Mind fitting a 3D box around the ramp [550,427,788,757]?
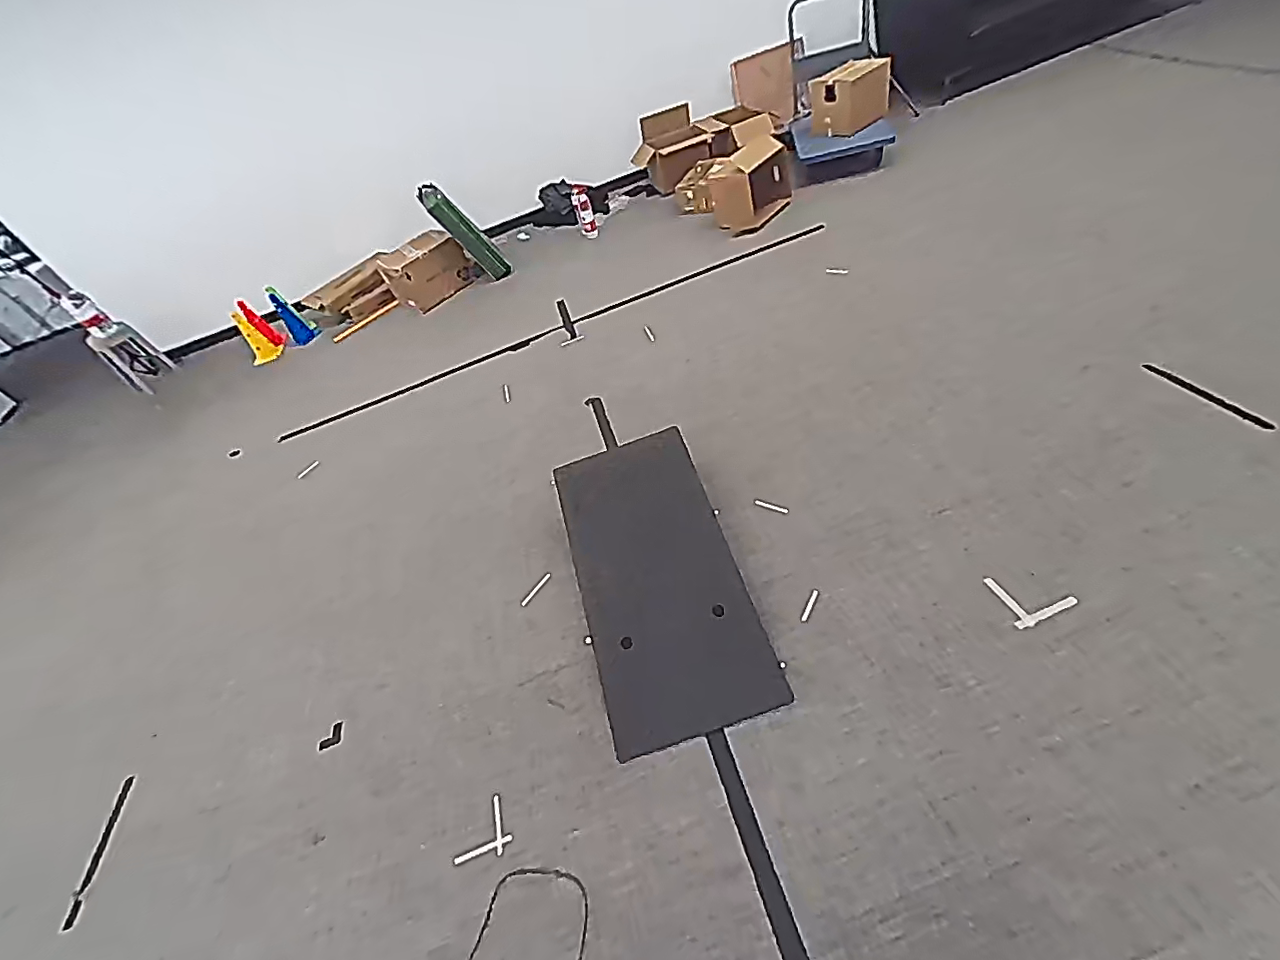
[{"bbox_3d":[0.035,0.270,1.705,0.509,0.206,0.991,-20,45,-1],"label":"ramp"}]
